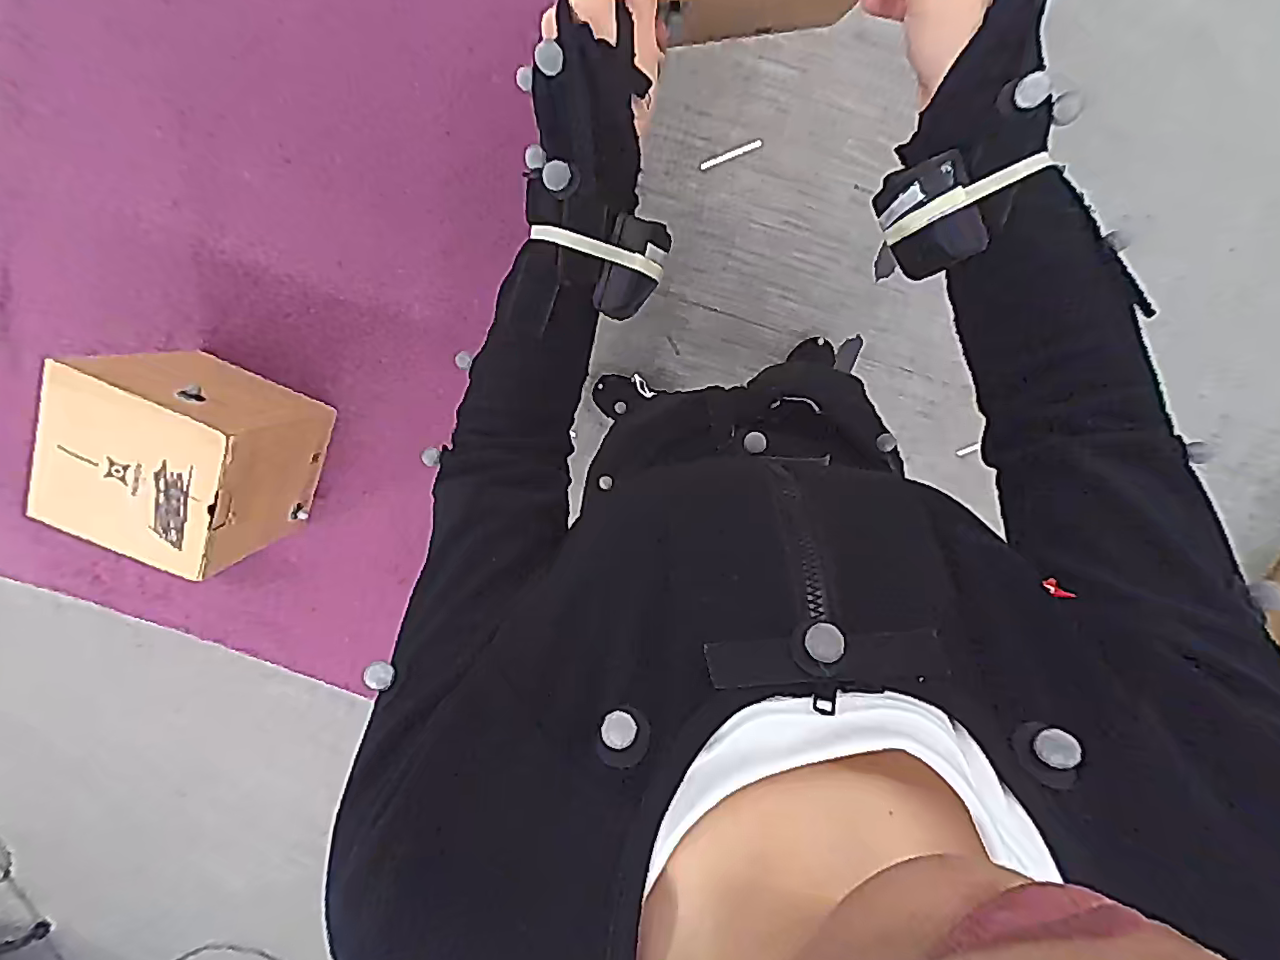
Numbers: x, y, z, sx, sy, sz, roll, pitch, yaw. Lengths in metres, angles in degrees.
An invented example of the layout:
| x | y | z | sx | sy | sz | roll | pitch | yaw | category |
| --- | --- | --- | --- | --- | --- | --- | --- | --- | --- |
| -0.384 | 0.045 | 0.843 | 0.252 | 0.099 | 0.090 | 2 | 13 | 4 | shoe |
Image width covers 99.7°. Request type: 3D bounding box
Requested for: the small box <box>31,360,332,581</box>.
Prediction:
| x | y | z | sx | sy | sz | roll | pitch | yaw | category |
| --- | --- | --- | --- | --- | --- | --- | --- | --- | --- |
| -0.477 | -0.024 | 0.586 | 0.179 | 0.176 | 0.168 | 24 | 105 | -3 | small box |
